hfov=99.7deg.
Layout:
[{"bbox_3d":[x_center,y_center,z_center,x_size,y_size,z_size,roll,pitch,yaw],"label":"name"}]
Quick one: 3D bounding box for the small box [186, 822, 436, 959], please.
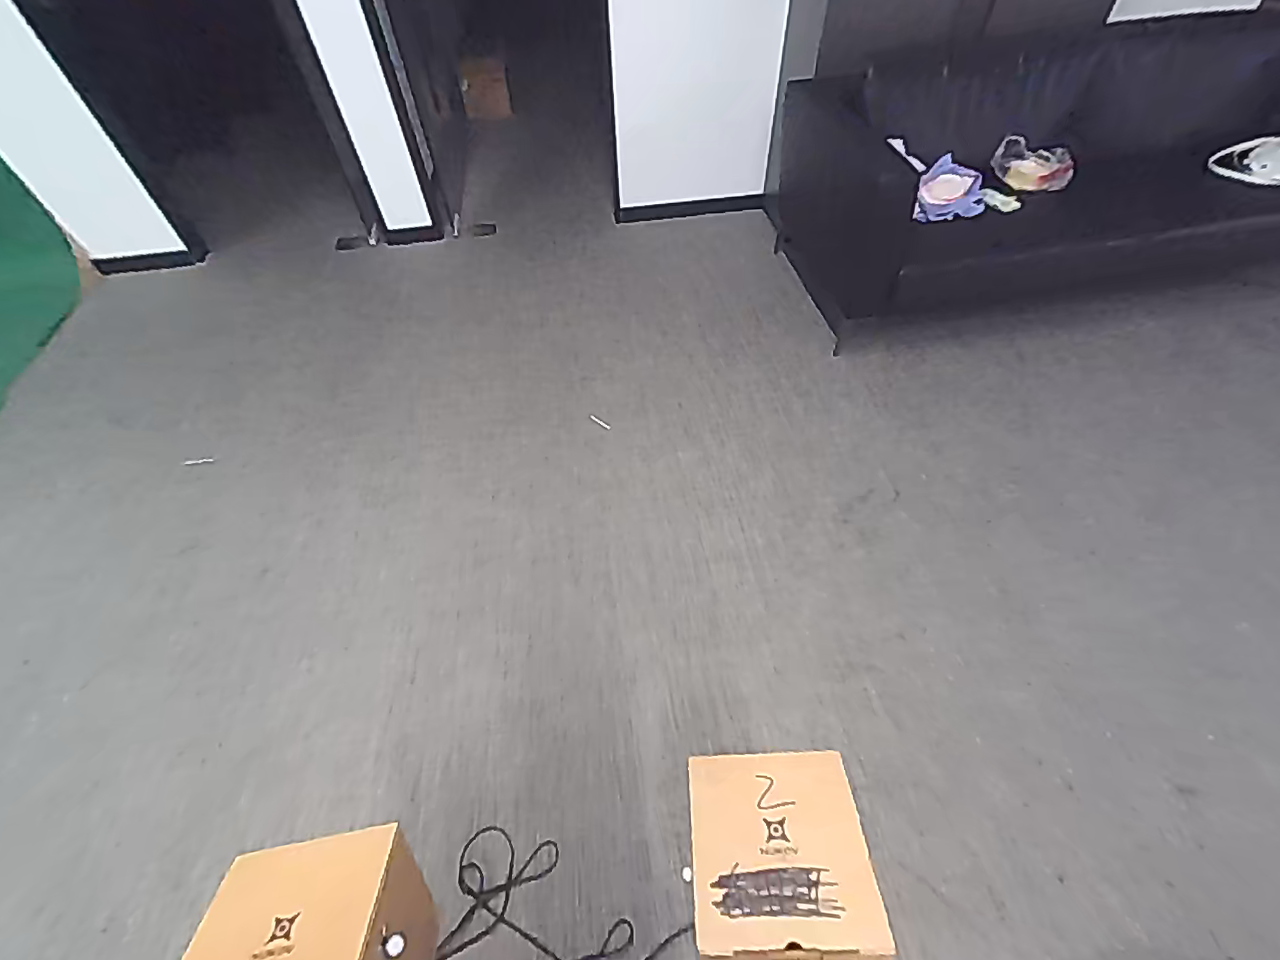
[{"bbox_3d":[-0.313,0.482,0.526,0.168,0.176,0.179,-9,25,-3],"label":"small box"}]
